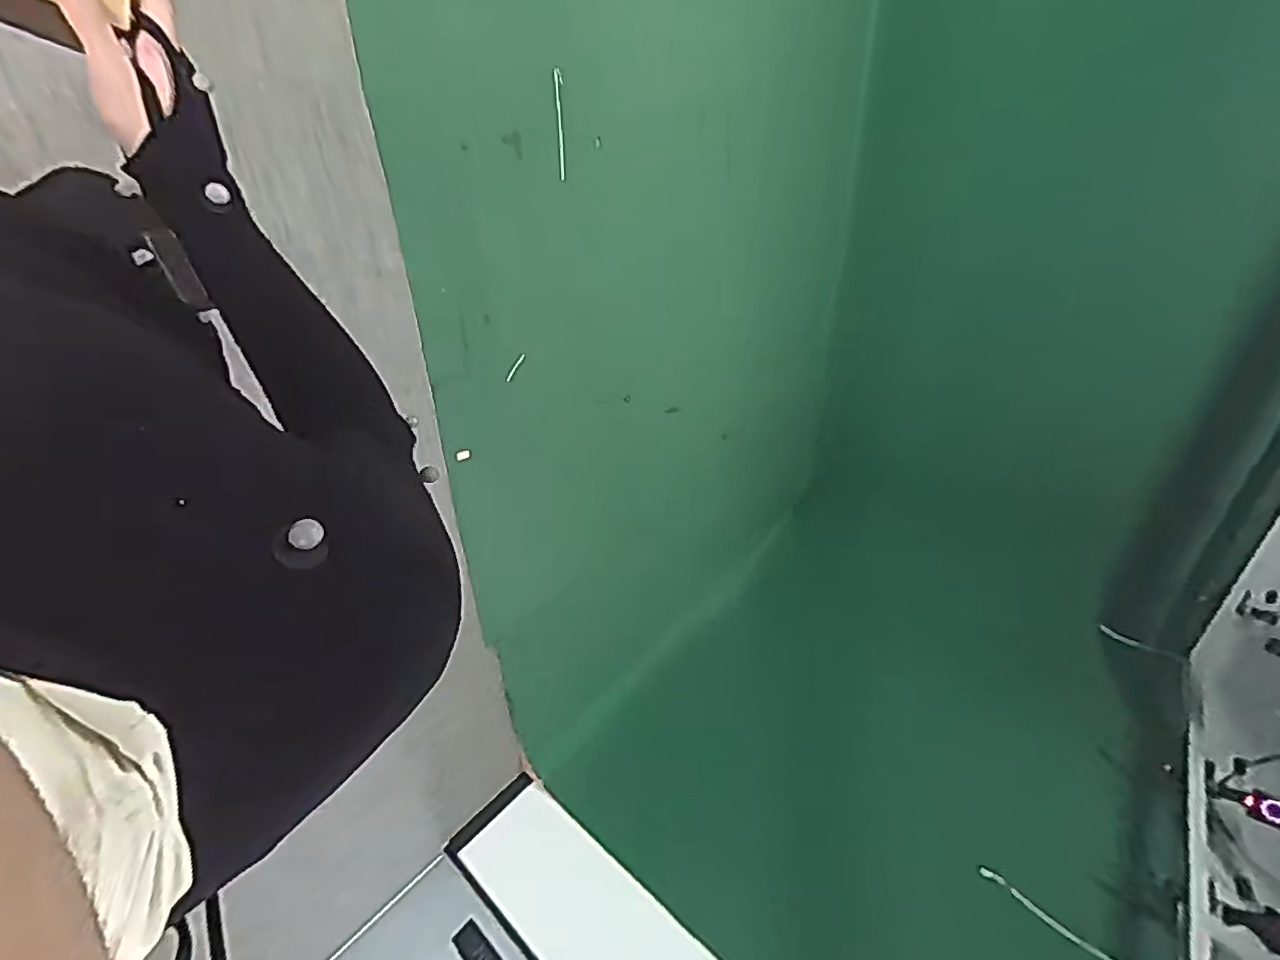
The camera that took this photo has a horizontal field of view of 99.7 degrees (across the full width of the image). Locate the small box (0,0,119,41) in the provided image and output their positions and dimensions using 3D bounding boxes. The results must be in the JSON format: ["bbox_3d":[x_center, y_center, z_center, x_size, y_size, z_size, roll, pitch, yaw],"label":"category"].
[{"bbox_3d":[-0.460,-0.430,0.346,0.168,0.176,0.179,-5,114,-49],"label":"small box"}]
